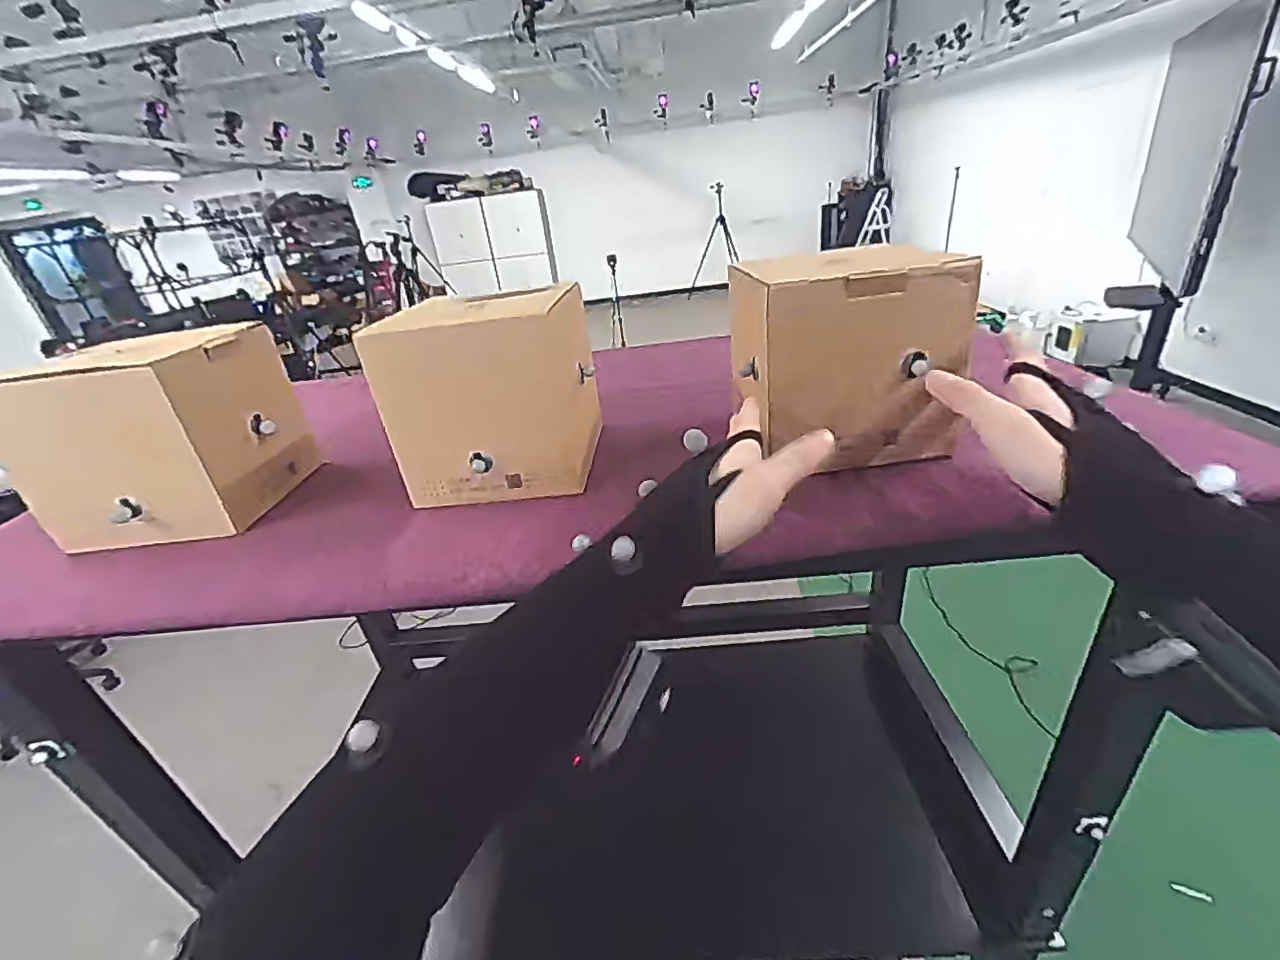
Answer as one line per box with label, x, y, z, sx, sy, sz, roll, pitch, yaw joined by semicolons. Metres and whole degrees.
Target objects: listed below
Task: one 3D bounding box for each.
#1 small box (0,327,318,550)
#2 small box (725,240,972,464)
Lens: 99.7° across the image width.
small box;-0.472;-0.046;0.550;0.179;0.176;0.168;-6;27;2
small box;0.179;-0.121;0.516;0.168;0.176;0.179;-7;27;2
